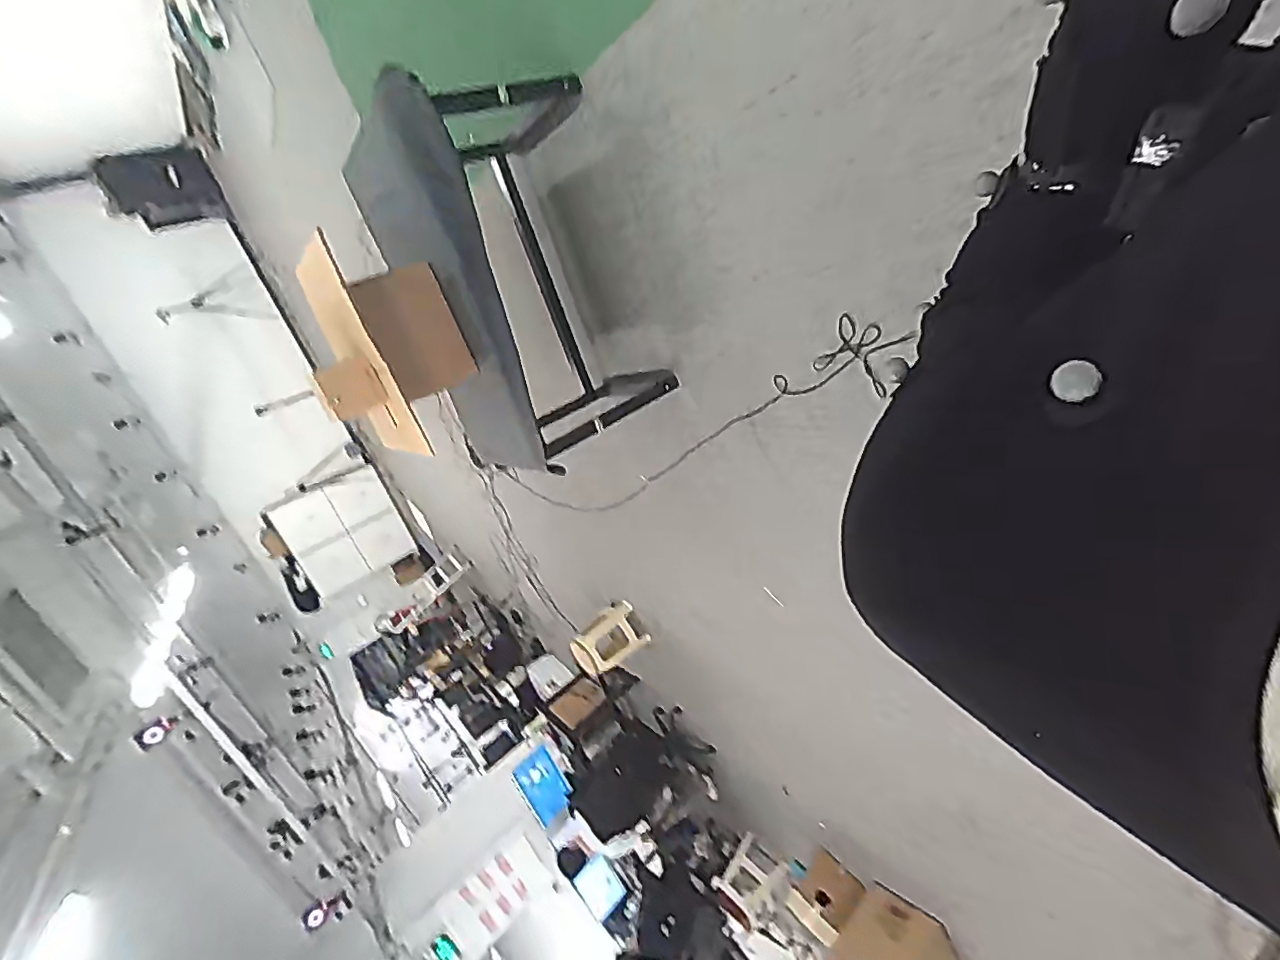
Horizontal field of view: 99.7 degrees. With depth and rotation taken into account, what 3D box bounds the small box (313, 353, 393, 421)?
[{"bbox_3d":[-0.928,-0.302,1.754,0.179,0.176,0.168,9,126,53],"label":"small box"}]
